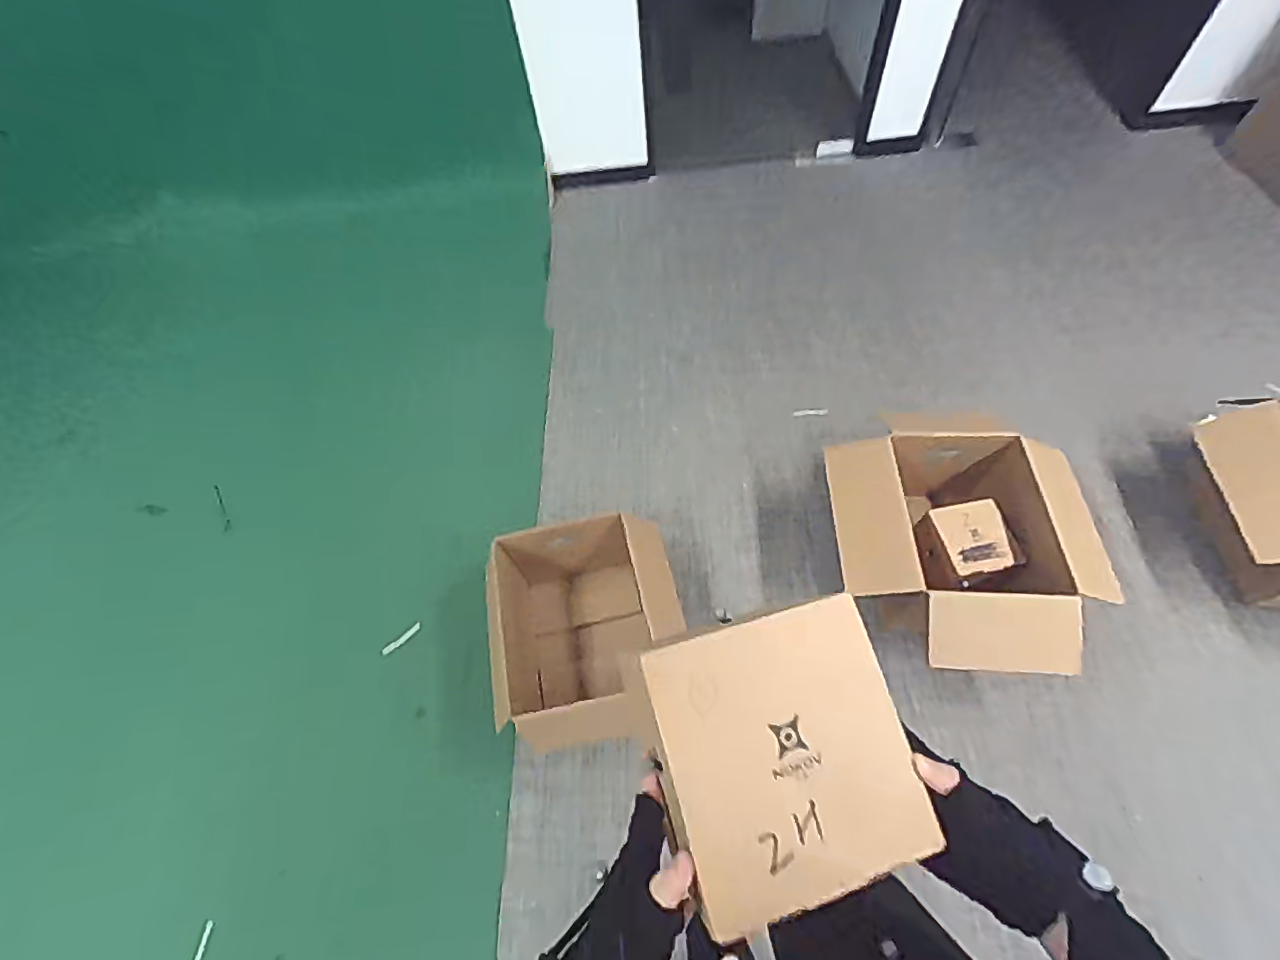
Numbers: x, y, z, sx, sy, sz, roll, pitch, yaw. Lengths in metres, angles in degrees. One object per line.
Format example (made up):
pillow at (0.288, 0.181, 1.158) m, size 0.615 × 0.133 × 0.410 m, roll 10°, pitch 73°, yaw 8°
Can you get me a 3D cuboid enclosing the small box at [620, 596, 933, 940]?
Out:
small box at (0.085, 0.209, 0.440) m, size 0.168 × 0.176 × 0.179 m, roll -13°, pitch 73°, yaw -10°
